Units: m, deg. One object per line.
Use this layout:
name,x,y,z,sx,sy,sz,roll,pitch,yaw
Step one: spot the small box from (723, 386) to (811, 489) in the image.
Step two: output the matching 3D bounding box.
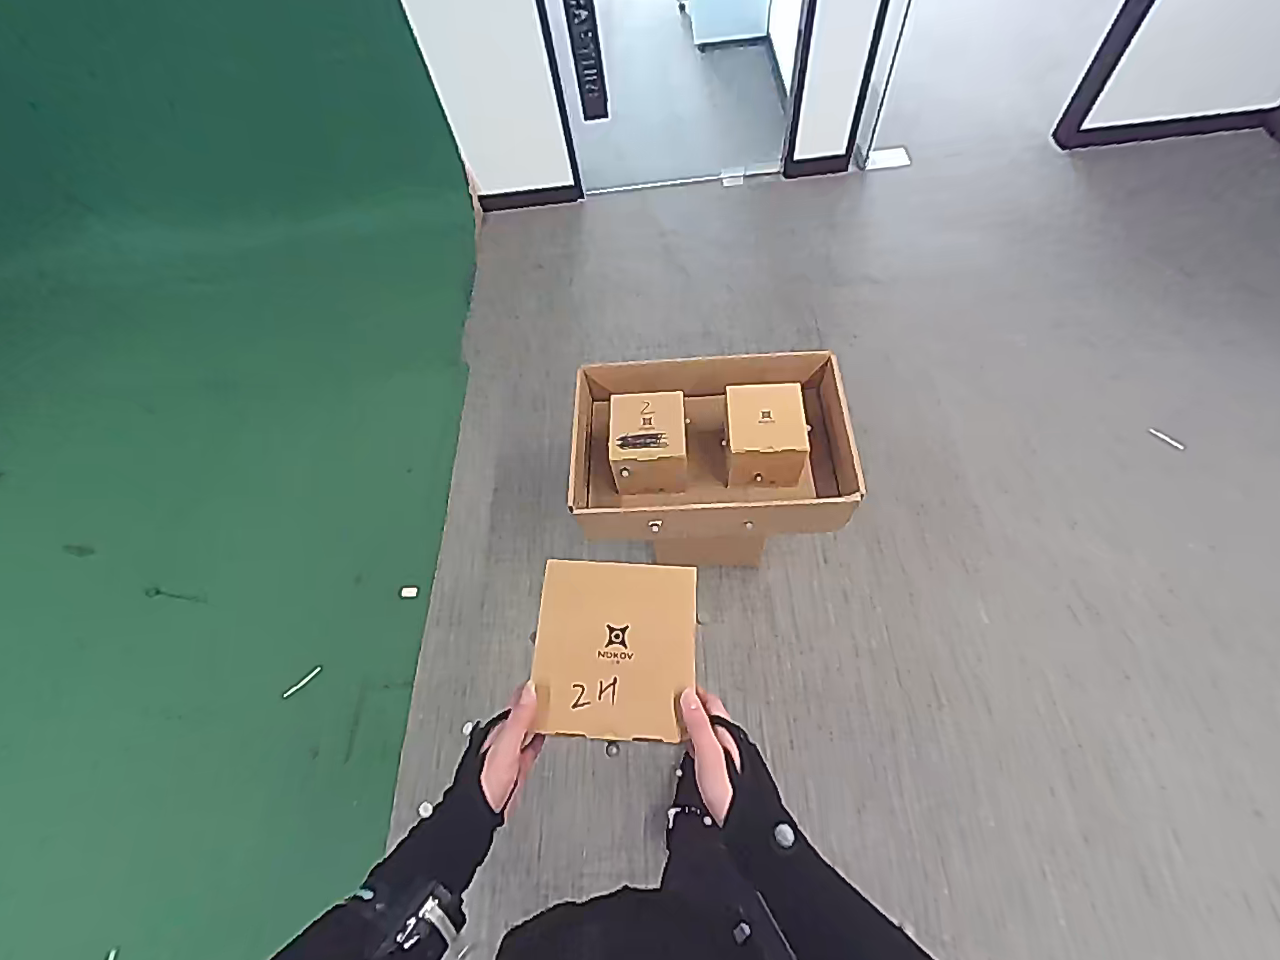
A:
small box,0.280,-0.094,1.234,0.168,0.176,0.179,-1,62,4

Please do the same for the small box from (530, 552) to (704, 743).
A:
small box,-0.019,0.197,0.618,0.168,0.176,0.179,3,64,2
